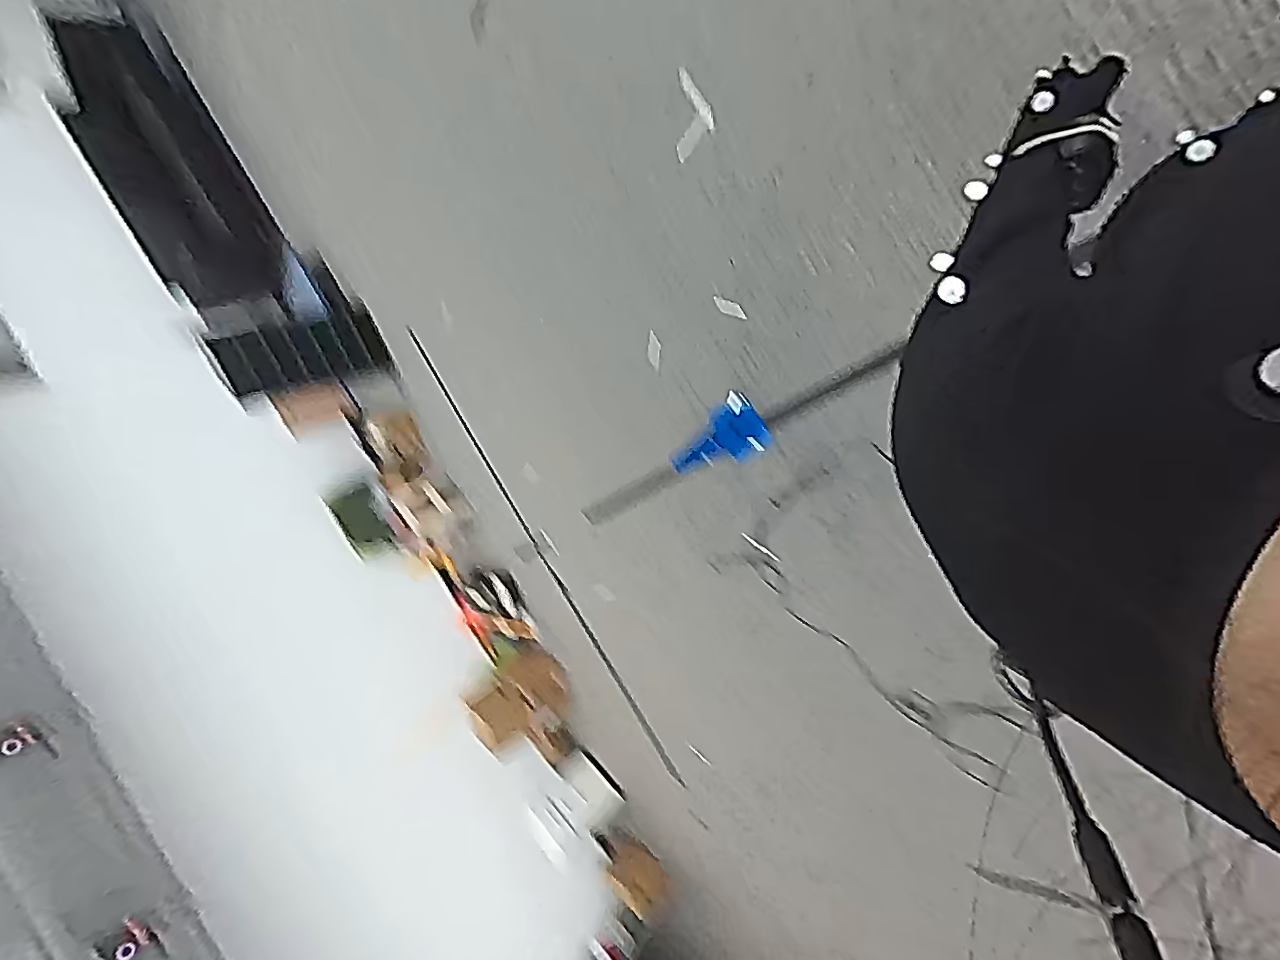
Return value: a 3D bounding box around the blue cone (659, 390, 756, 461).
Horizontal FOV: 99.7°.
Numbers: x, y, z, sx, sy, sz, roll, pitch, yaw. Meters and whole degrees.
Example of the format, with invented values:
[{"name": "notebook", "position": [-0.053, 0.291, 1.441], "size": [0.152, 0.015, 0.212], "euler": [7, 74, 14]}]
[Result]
[{"name": "blue cone", "position": [0.202, -0.140, 1.822], "size": [0.193, 0.380, 0.192], "euler": [-34, 86, 51]}]
